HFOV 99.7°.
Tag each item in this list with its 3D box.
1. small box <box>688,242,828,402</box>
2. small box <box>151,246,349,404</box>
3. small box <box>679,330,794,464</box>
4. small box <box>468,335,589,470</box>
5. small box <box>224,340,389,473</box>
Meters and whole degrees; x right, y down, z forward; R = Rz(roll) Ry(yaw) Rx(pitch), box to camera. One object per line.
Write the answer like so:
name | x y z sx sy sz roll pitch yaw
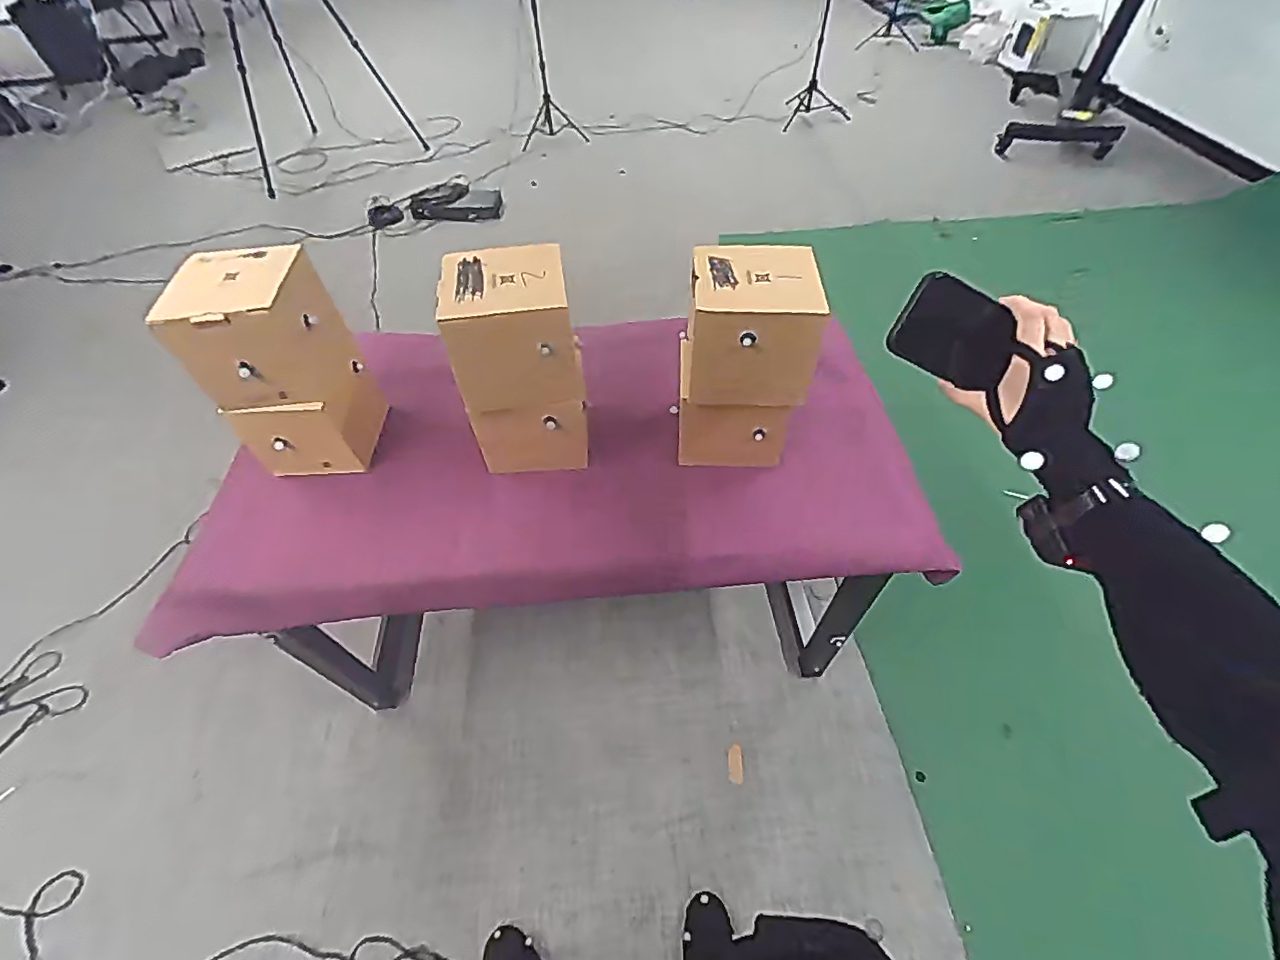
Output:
small box | 0.161 -0.231 0.801 0.179 0.176 0.168 1 52 3
small box | -0.580 -0.232 0.837 0.168 0.176 0.179 -7 53 -3
small box | 0.158 -0.141 0.939 0.179 0.176 0.168 1 52 5
small box | -0.182 -0.133 0.947 0.179 0.176 0.168 -4 52 0
small box | -0.573 -0.124 0.961 0.168 0.176 0.179 -3 52 0
